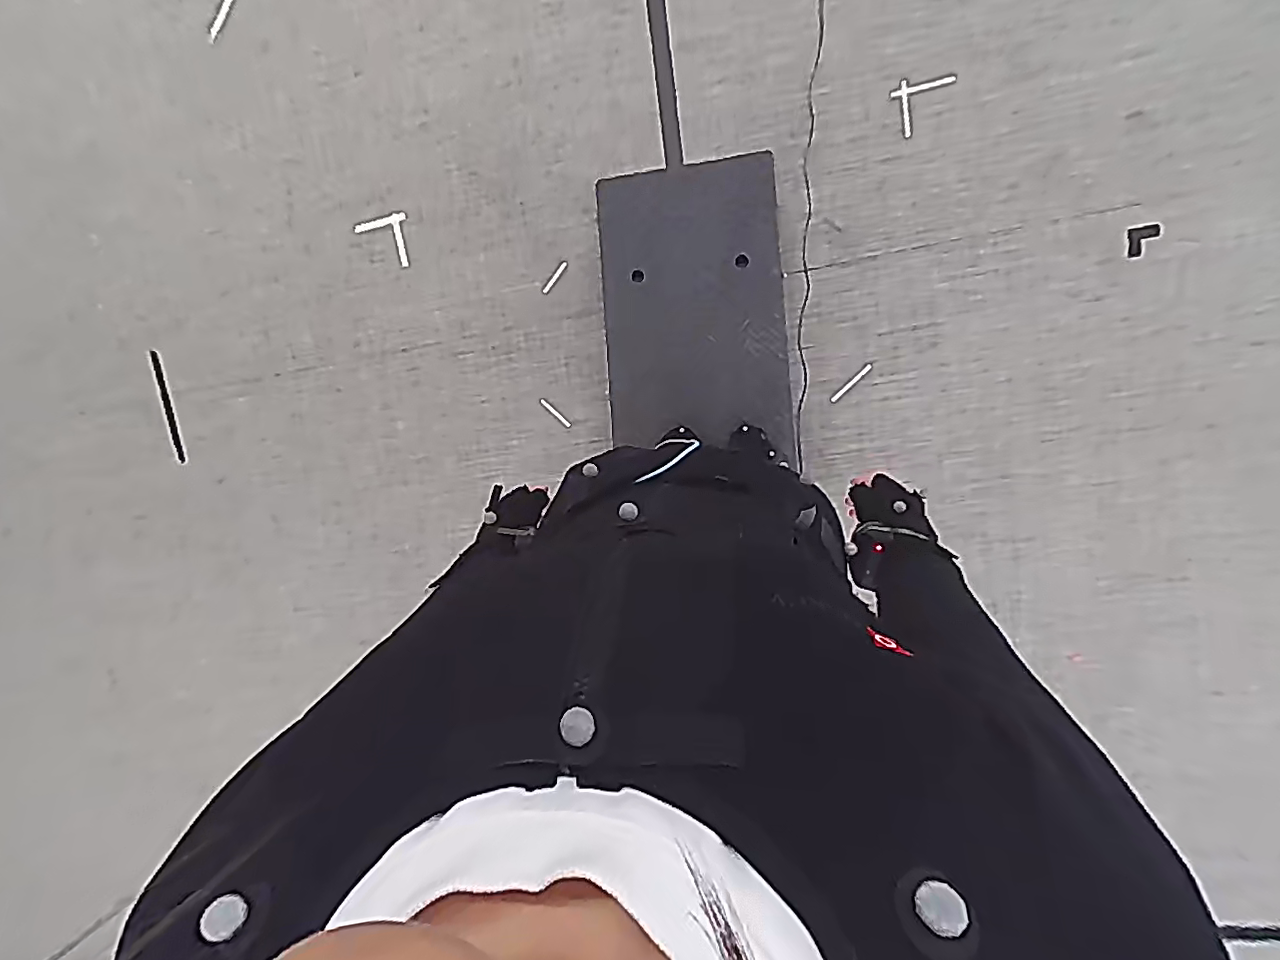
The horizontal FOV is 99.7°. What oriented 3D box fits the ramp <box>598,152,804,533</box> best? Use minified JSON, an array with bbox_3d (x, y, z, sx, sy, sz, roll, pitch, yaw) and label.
[{"bbox_3d":[0.151,-0.366,1.468,0.509,0.206,0.991,-6,97,11],"label":"ramp"}]
